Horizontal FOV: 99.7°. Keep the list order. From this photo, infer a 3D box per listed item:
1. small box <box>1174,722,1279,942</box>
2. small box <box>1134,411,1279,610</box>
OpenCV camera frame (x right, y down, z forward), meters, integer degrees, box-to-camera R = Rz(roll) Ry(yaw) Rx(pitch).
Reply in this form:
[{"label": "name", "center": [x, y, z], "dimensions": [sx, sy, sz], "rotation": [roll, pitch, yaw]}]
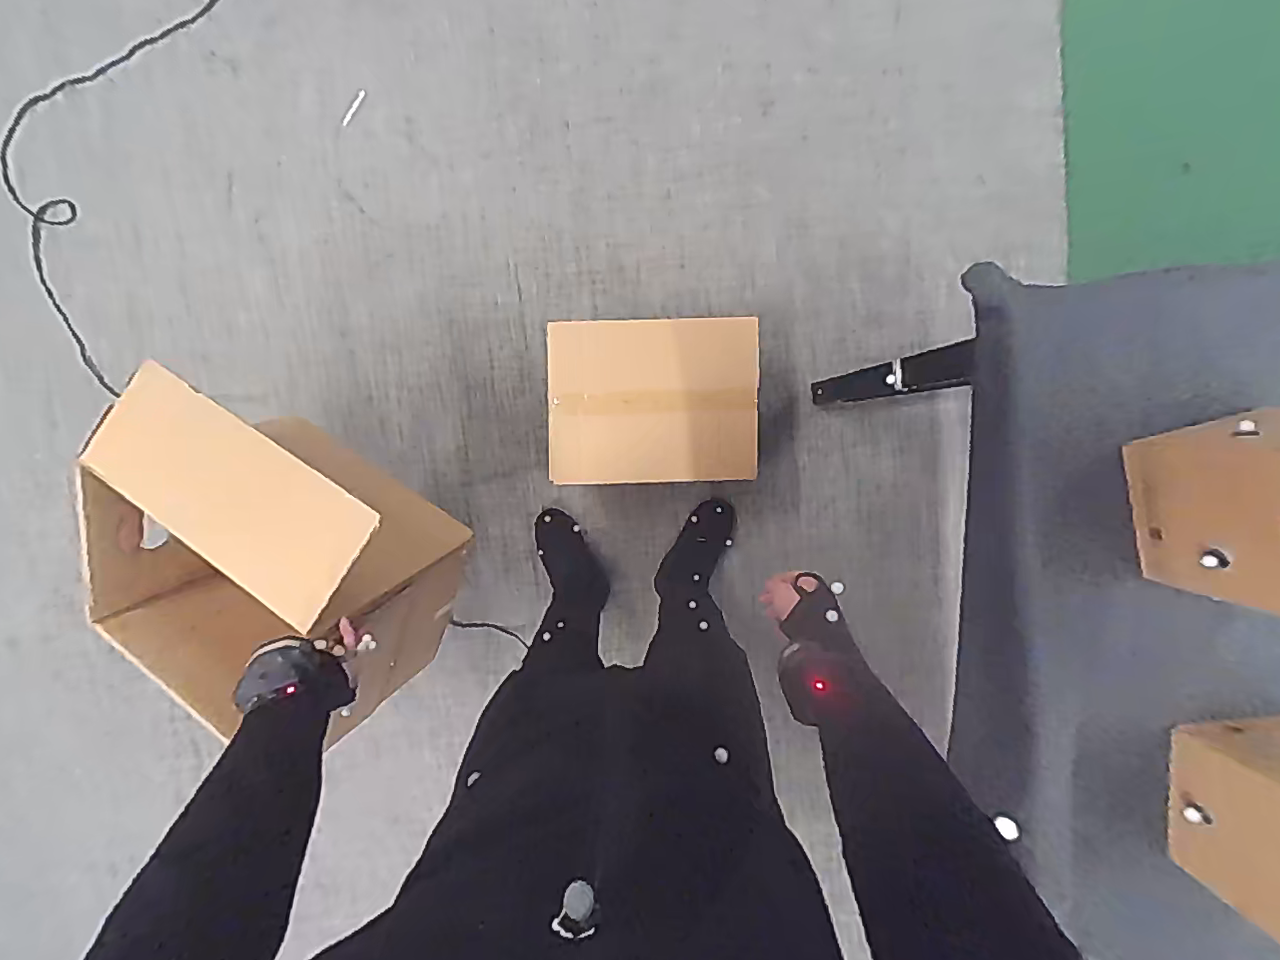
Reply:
[{"label": "small box", "center": [0.732, 0.387, 0.579], "dimensions": [0.168, 0.176, 0.179], "rotation": [-4, 95, -1]}, {"label": "small box", "center": [0.657, 0.026, 0.551], "dimensions": [0.179, 0.176, 0.168], "rotation": [-15, 96, -2]}]
